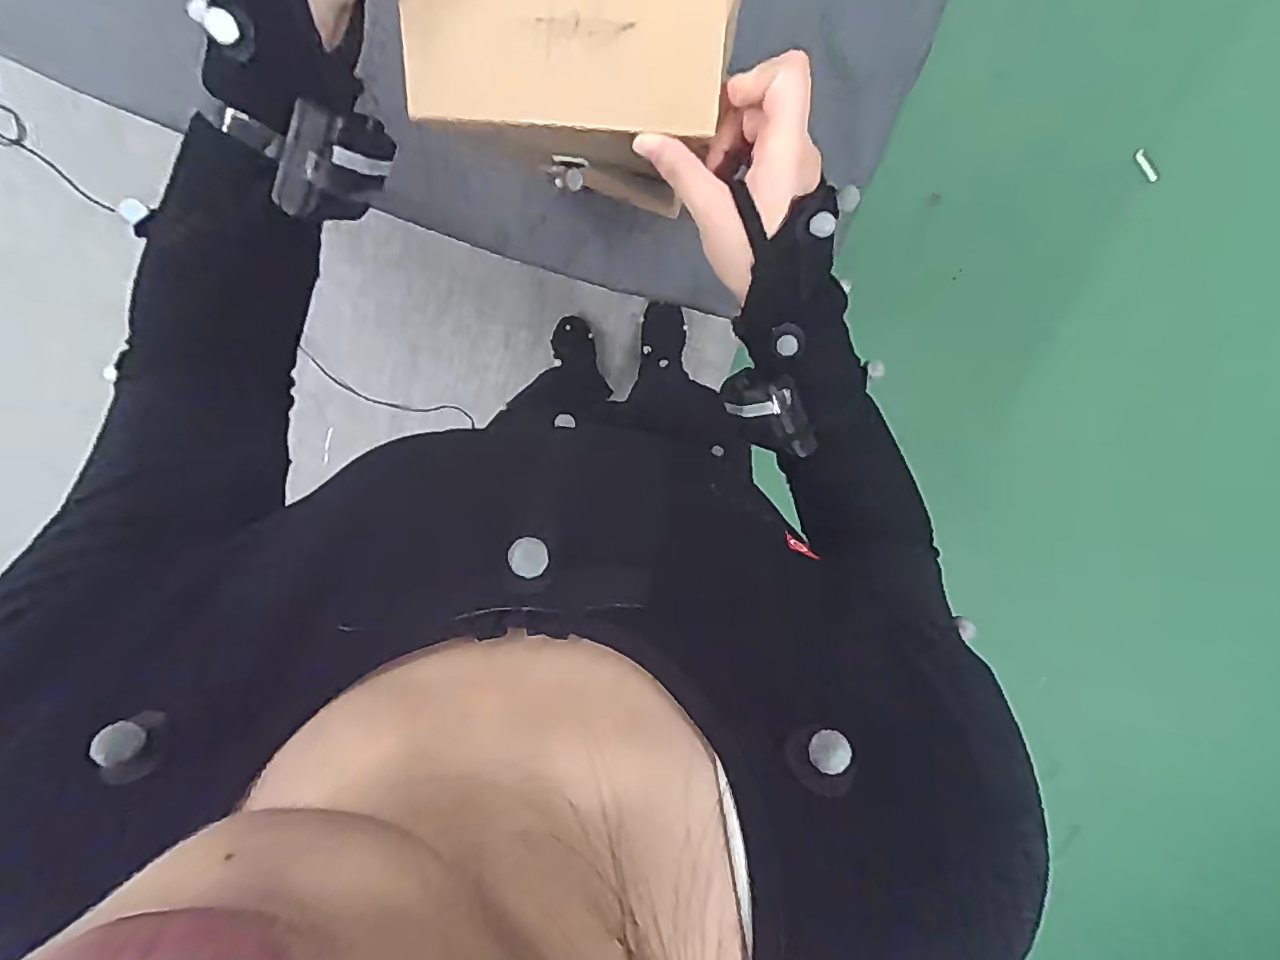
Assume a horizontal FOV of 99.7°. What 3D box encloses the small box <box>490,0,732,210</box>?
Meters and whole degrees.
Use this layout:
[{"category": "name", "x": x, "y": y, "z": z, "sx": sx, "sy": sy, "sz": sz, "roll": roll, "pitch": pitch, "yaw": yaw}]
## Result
[{"category": "small box", "x": -0.018, "y": -0.379, "z": 0.509, "sx": 0.168, "sy": 0.176, "sz": 0.179, "roll": 19, "pitch": 107, "yaw": -2}]
